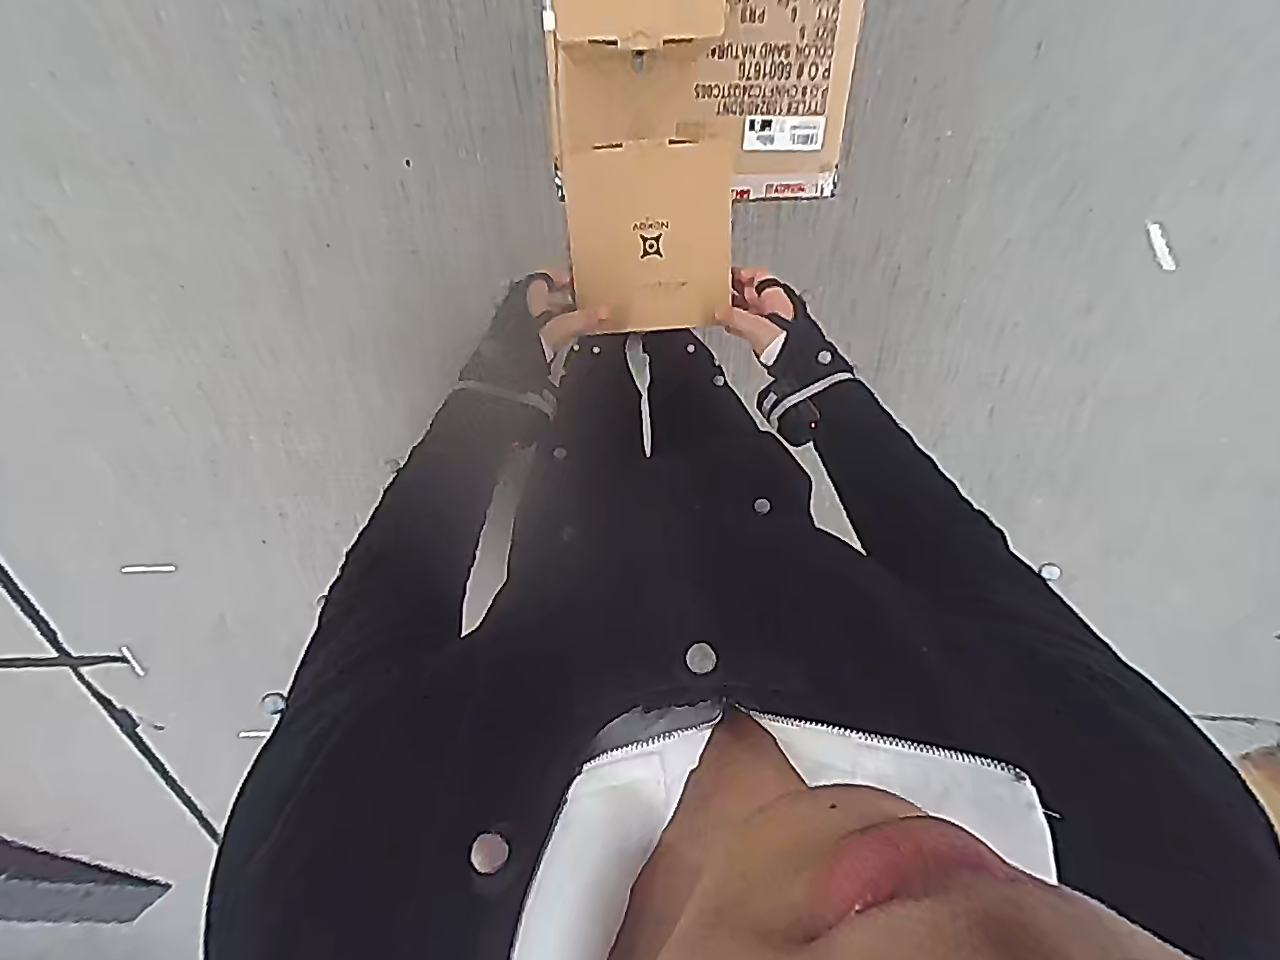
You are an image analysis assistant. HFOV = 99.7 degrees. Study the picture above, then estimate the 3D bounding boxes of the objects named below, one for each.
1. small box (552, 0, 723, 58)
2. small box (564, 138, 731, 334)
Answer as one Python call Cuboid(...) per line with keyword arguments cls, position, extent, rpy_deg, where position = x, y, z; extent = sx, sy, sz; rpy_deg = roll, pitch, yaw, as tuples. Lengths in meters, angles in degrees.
Cuboid(cls="small box", position=(-0.003, -0.540, 0.546), extent=(0.168, 0.176, 0.179), rpy_deg=(-2, 125, -1))
Cuboid(cls="small box", position=(0.010, -0.272, 0.624), extent=(0.168, 0.176, 0.179), rpy_deg=(-4, 113, 1))
